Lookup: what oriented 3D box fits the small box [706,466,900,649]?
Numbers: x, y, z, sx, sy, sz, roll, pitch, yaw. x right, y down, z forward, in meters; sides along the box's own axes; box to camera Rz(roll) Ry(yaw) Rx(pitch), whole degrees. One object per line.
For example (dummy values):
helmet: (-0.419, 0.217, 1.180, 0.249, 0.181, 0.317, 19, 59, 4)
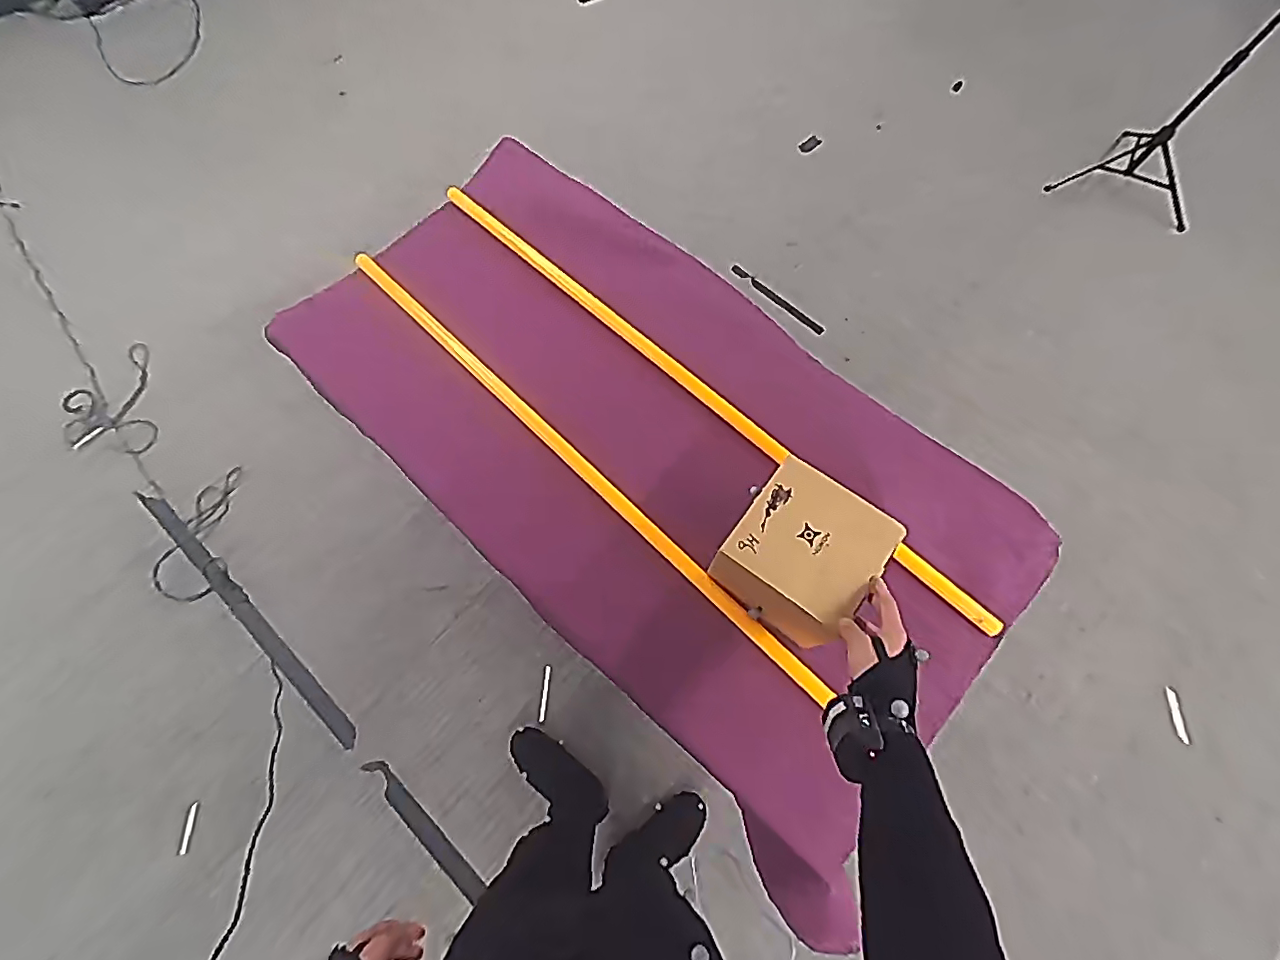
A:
small box: (0.212, 0.115, 0.751, 0.179, 0.176, 0.168, 36, 74, 13)
